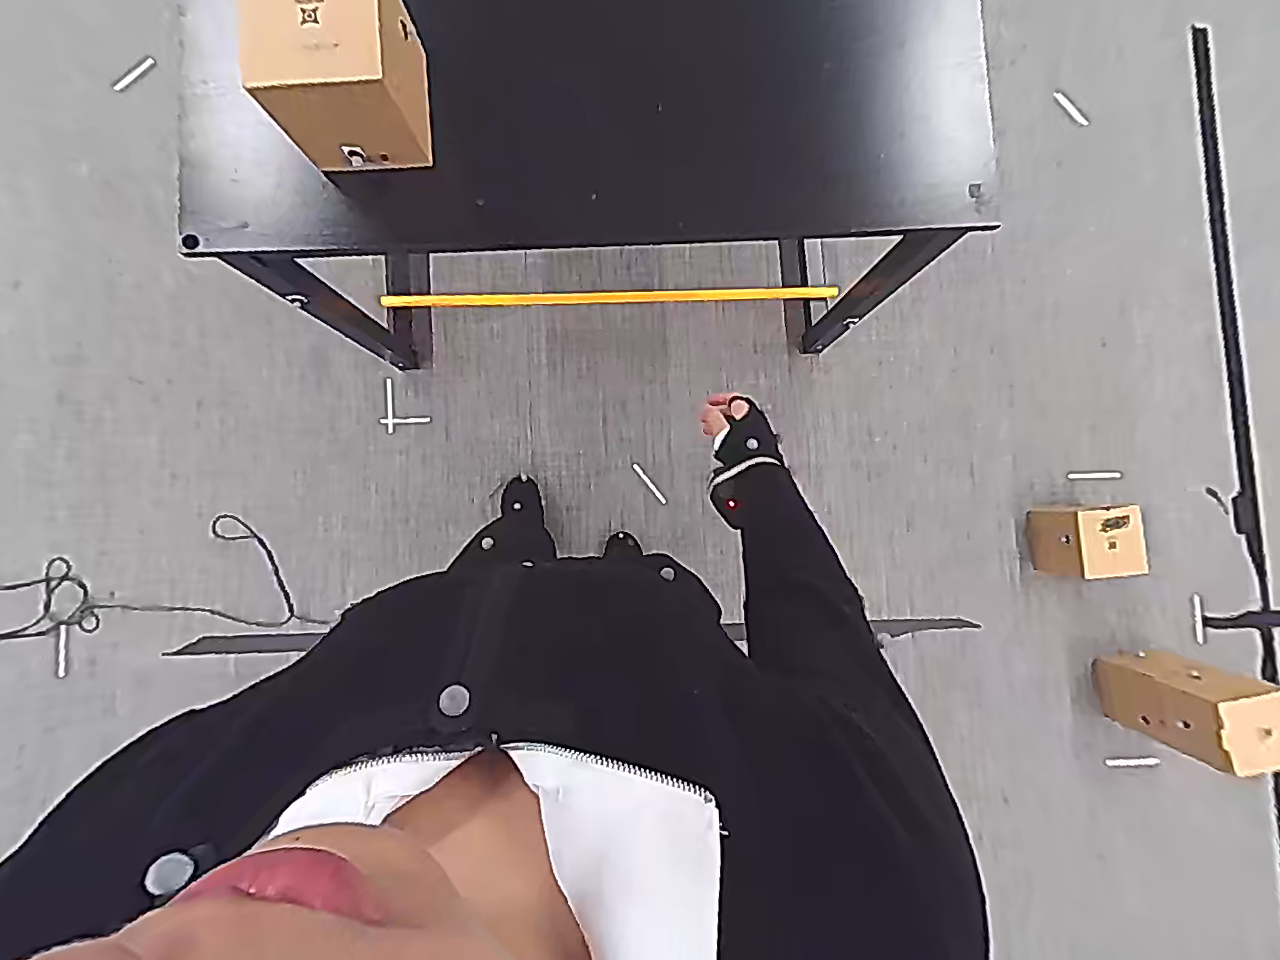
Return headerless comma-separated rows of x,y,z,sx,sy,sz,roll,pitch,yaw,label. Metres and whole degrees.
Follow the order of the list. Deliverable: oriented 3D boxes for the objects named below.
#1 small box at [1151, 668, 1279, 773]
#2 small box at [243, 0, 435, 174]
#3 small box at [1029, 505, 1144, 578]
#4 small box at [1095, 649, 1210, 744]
1.358,0.556,1.270,0.179,0.176,0.168,-9,87,-1,small box
-0.387,-0.545,0.720,0.168,0.176,0.179,-5,88,-1,small box
1.185,0.162,1.449,0.168,0.176,0.179,-5,88,-1,small box
1.363,0.566,1.434,0.168,0.176,0.179,-8,87,-2,small box
